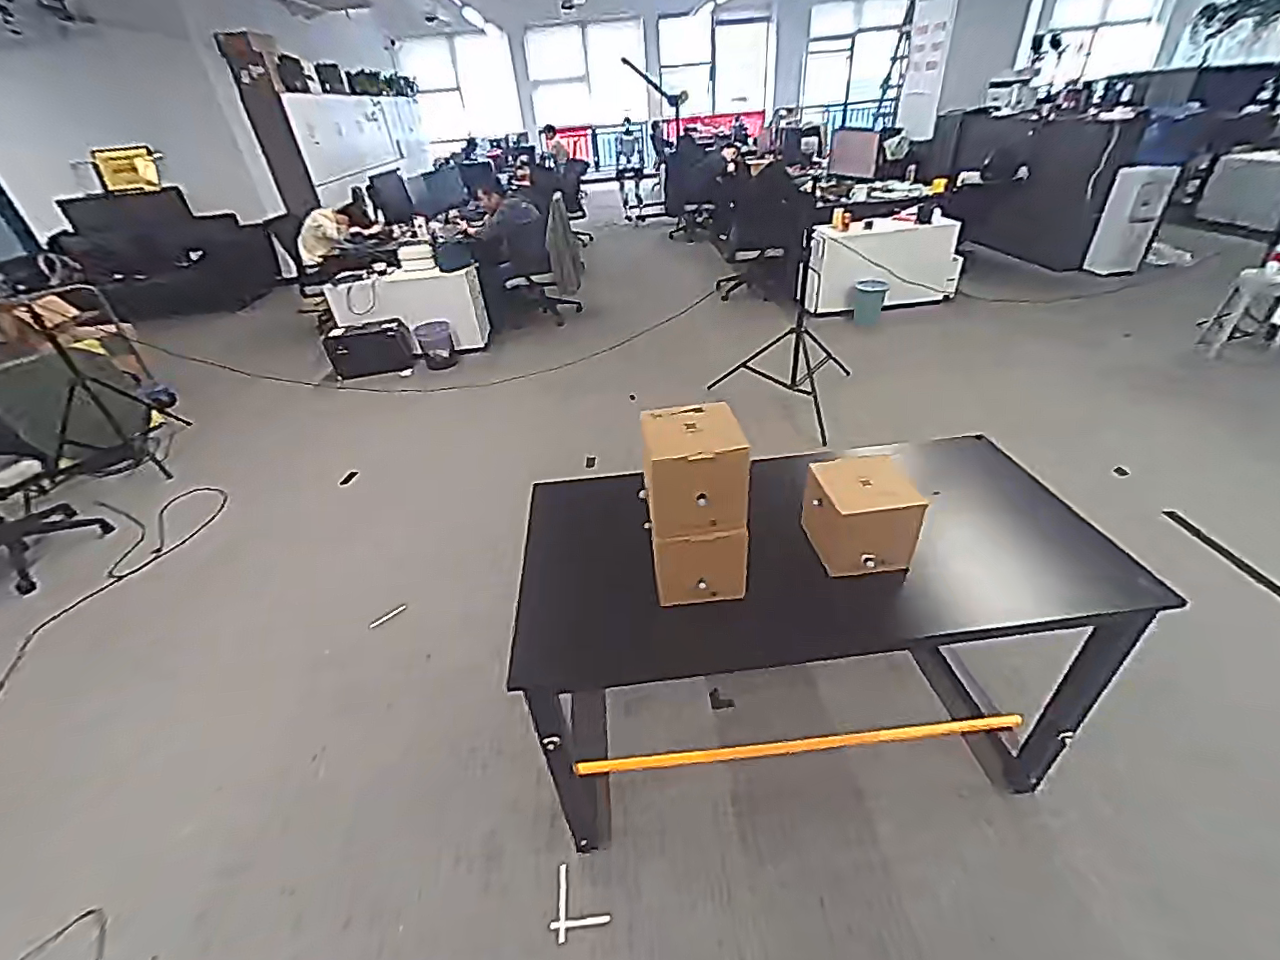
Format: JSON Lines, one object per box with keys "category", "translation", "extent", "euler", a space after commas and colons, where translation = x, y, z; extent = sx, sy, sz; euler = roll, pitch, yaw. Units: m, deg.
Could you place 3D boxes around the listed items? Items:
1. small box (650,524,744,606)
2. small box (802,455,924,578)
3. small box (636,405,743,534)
{"category": "small box", "translation": [0.105, 0.124, 1.072], "extent": [0.168, 0.176, 0.179], "euler": [-6, 35, 0]}
{"category": "small box", "translation": [0.439, 0.073, 1.100], "extent": [0.168, 0.176, 0.179], "euler": [-9, 35, -1]}
{"category": "small box", "translation": [0.088, -0.015, 0.987], "extent": [0.168, 0.176, 0.179], "euler": [-7, 35, -2]}
